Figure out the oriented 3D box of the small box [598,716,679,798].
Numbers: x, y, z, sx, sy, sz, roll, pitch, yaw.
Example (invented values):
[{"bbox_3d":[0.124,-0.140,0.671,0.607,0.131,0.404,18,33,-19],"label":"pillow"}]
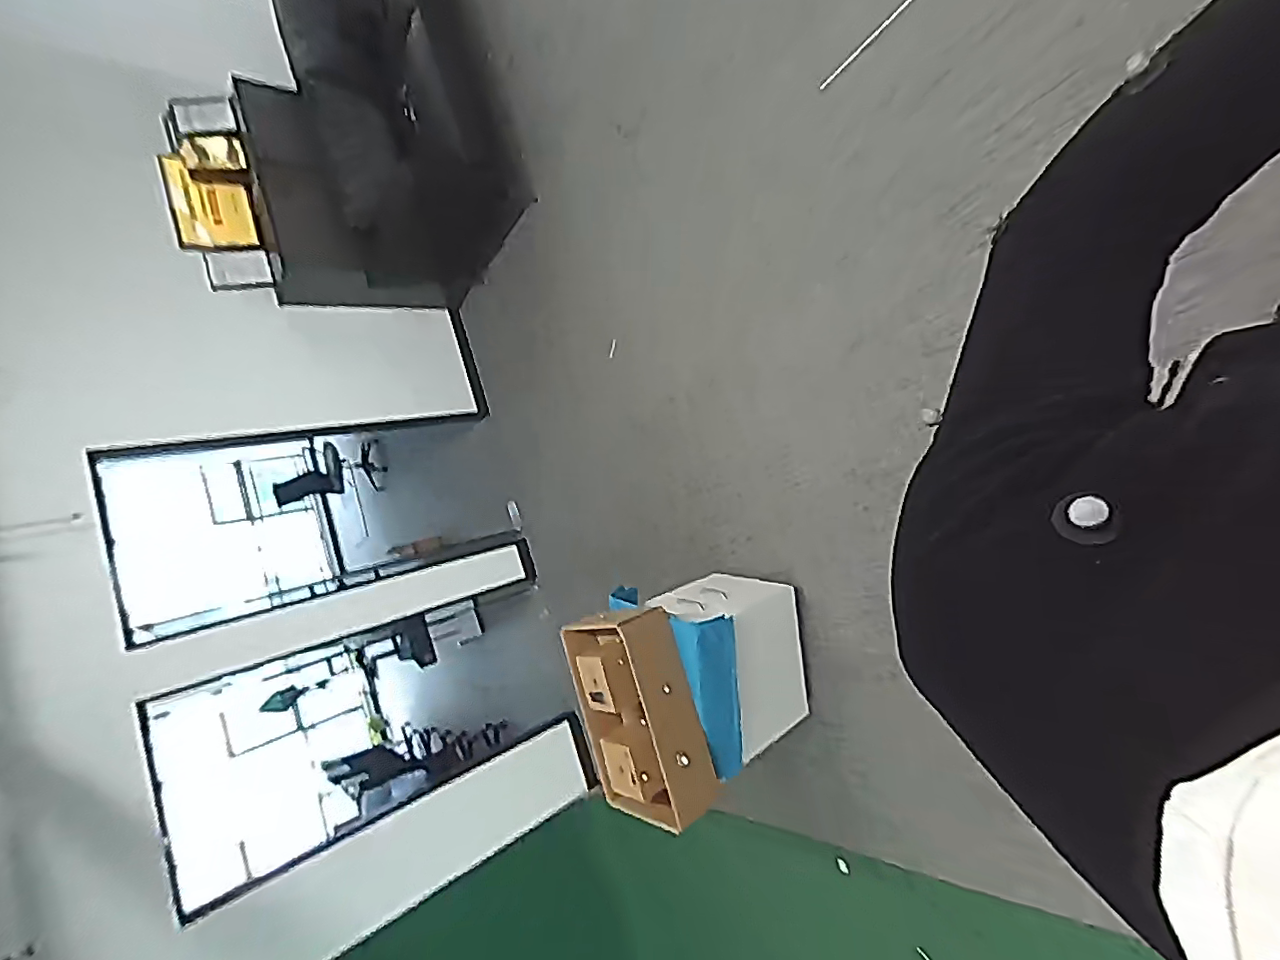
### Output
[{"bbox_3d":[-0.004,0.870,1.720,0.179,0.176,0.168,-23,81,53],"label":"small box"}]
